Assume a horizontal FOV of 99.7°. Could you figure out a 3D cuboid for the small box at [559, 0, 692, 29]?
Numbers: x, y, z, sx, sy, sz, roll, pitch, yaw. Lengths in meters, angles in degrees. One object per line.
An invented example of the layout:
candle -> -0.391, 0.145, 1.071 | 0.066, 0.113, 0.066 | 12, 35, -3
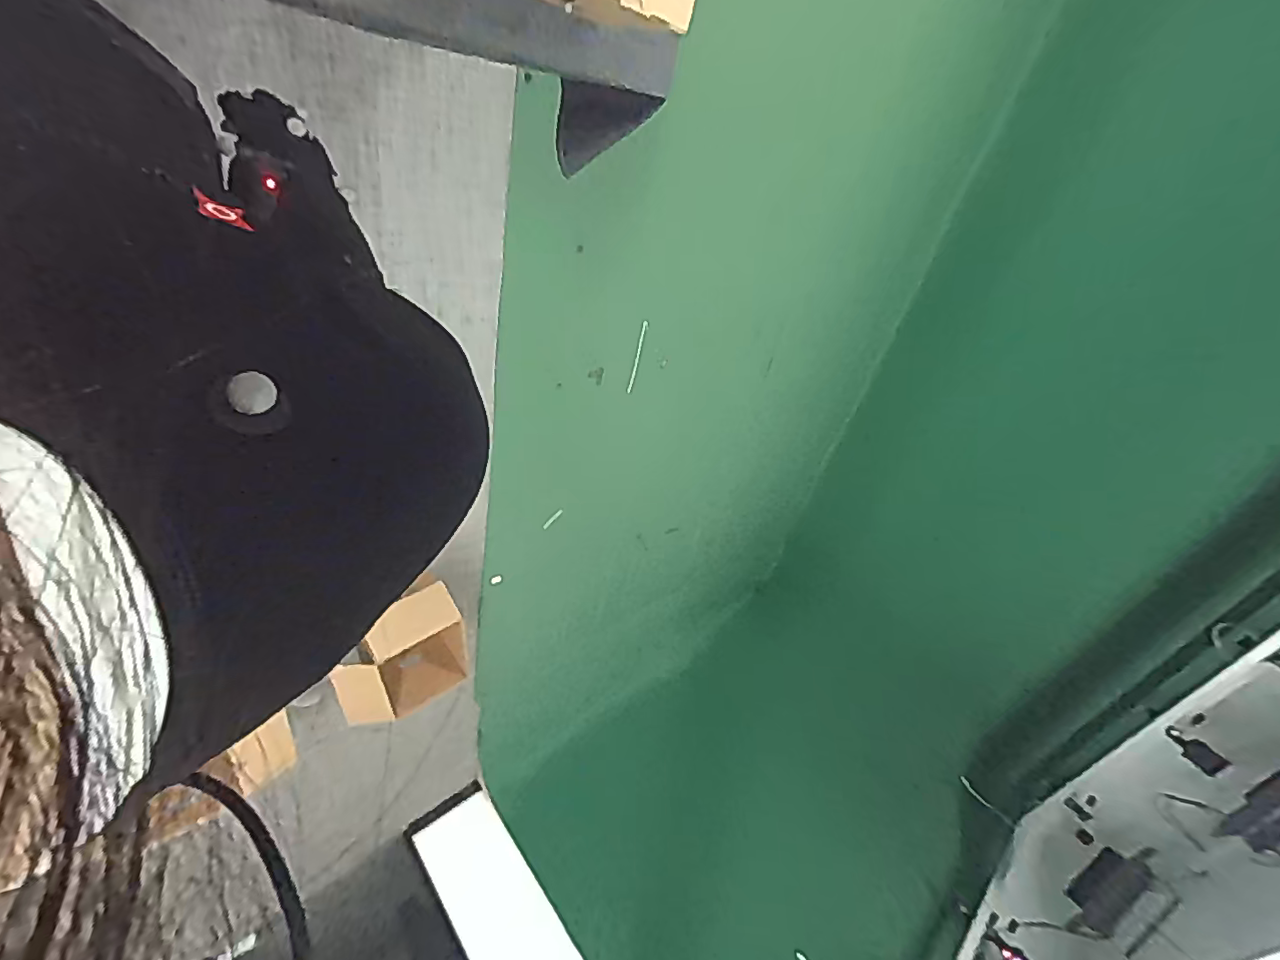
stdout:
small box -> -0.038, -0.624, 0.577 | 0.168, 0.176, 0.179 | -17, 135, -42
